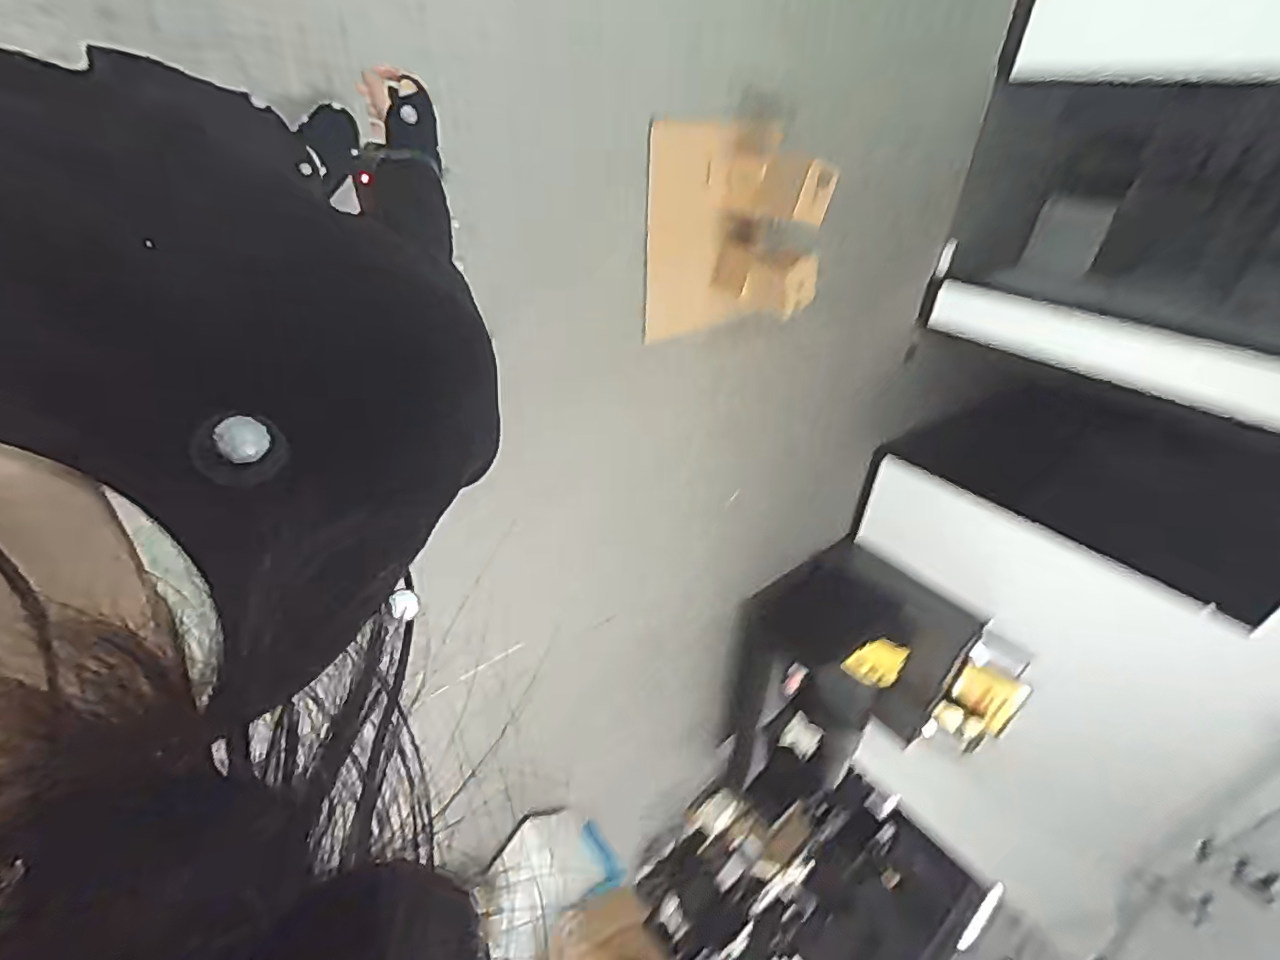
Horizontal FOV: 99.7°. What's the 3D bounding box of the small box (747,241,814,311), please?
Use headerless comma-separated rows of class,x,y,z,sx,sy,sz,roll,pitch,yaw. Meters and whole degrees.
small box,0.499,-0.735,1.928,0.168,0.176,0.179,-38,139,-19

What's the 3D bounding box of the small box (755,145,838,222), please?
small box,0.502,-0.966,1.757,0.168,0.176,0.179,-6,124,-43

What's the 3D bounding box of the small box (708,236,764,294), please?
small box,0.390,-0.802,2.031,0.179,0.176,0.168,-5,122,-43
